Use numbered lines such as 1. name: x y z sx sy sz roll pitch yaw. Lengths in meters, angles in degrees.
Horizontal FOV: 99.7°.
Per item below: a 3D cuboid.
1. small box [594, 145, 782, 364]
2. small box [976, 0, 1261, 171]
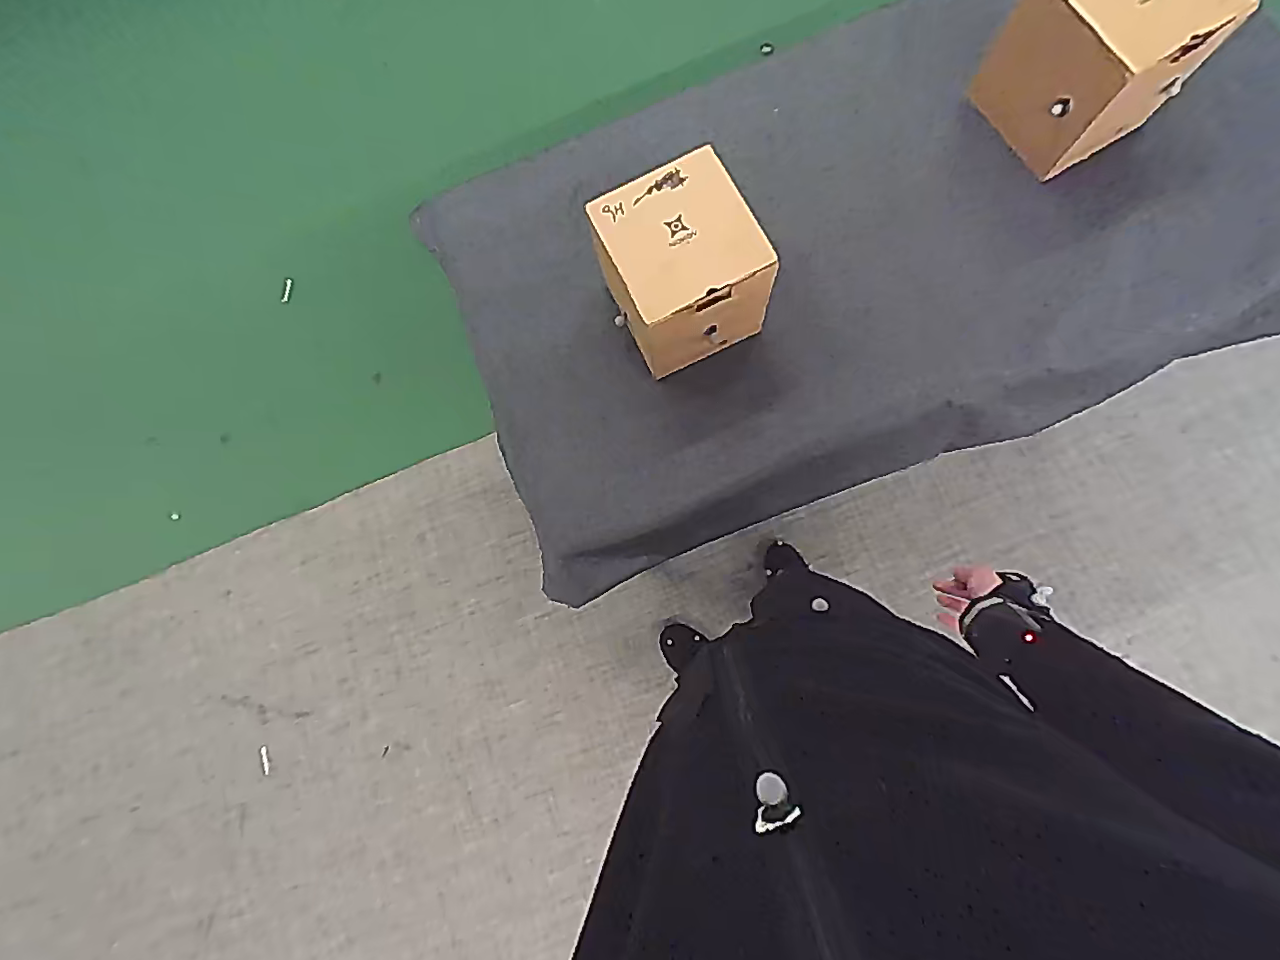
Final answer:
1. small box: 0.061 -0.271 0.697 0.168 0.176 0.179 -25 78 0
2. small box: 0.587 -0.538 0.694 0.168 0.176 0.179 -29 77 -1
